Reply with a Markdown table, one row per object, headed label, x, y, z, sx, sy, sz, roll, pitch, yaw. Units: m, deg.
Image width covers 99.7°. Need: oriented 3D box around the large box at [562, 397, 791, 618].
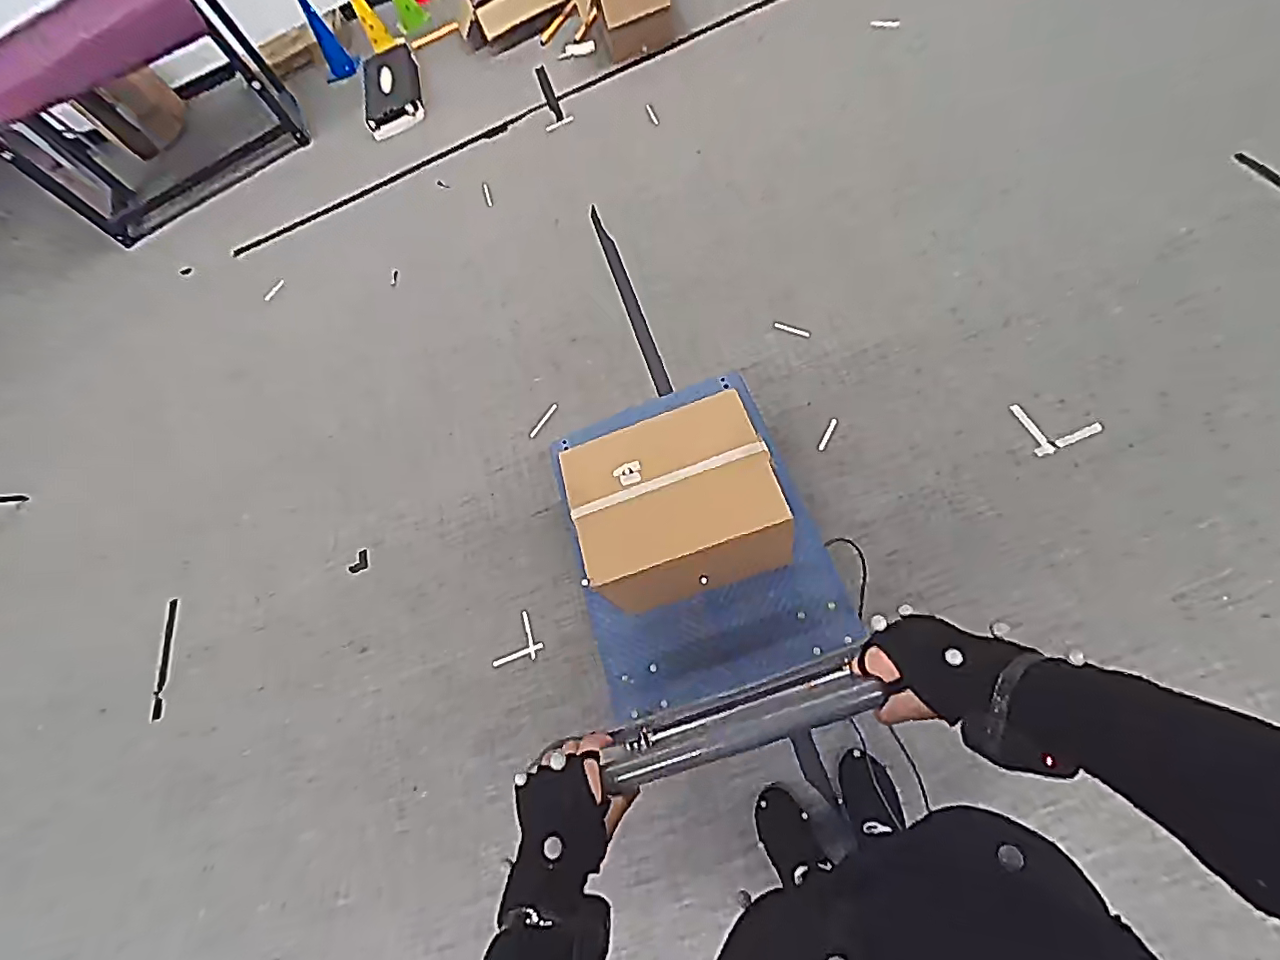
| label | x | y | z | sx | sy | sz | roll | pitch | yaw |
| --- | --- | --- | --- | --- | --- | --- | --- | --- | --- |
| large box | 0.092 | 0.080 | 1.225 | 0.408 | 0.320 | 0.320 | -21 | 61 | 6 |
